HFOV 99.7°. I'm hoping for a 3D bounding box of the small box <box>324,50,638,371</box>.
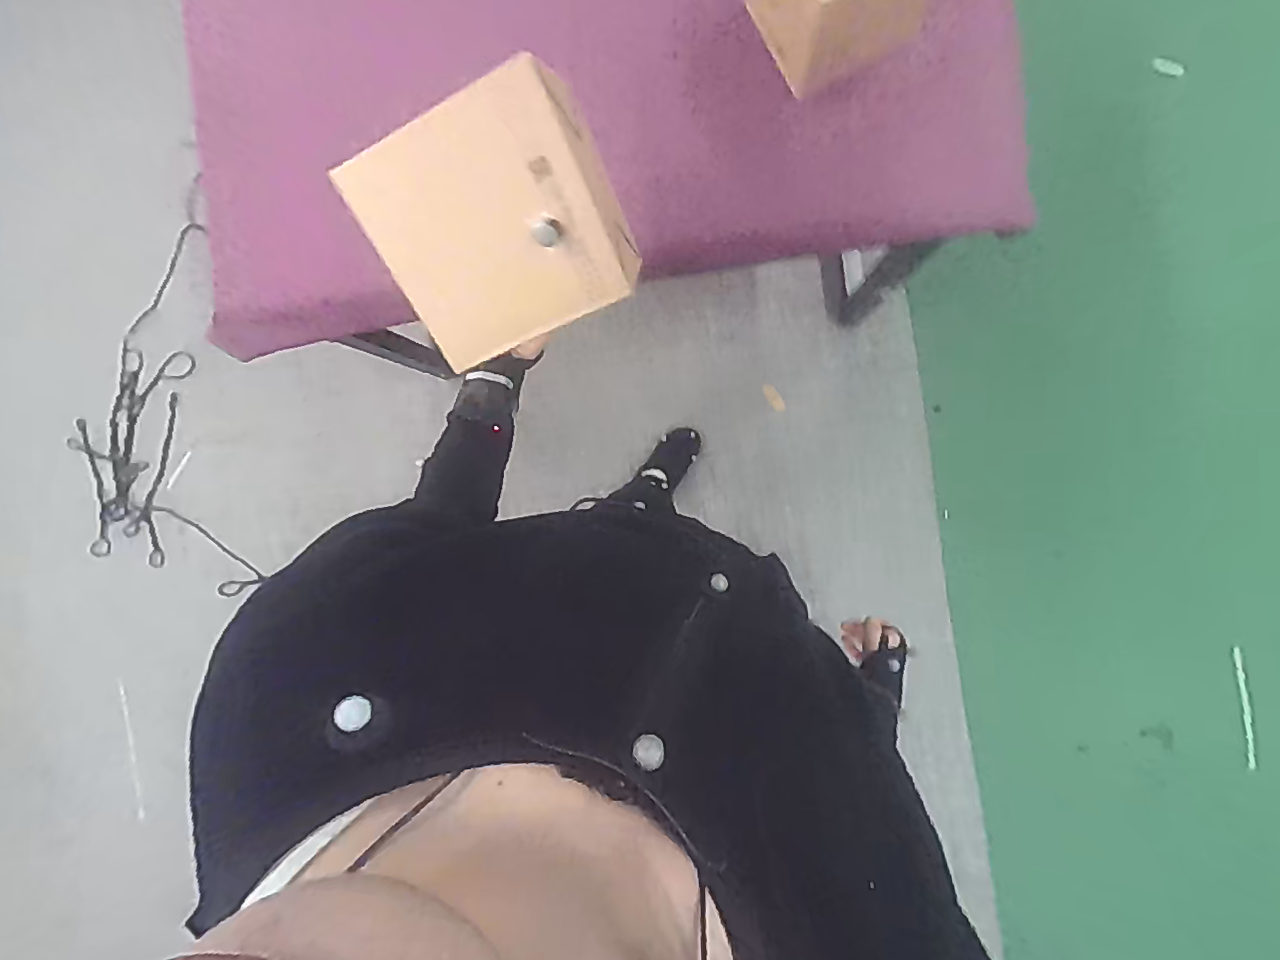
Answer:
[{"bbox_3d":[-0.107,-0.222,0.460,0.176,0.179,0.168,-20,118,15],"label":"small box"}]
